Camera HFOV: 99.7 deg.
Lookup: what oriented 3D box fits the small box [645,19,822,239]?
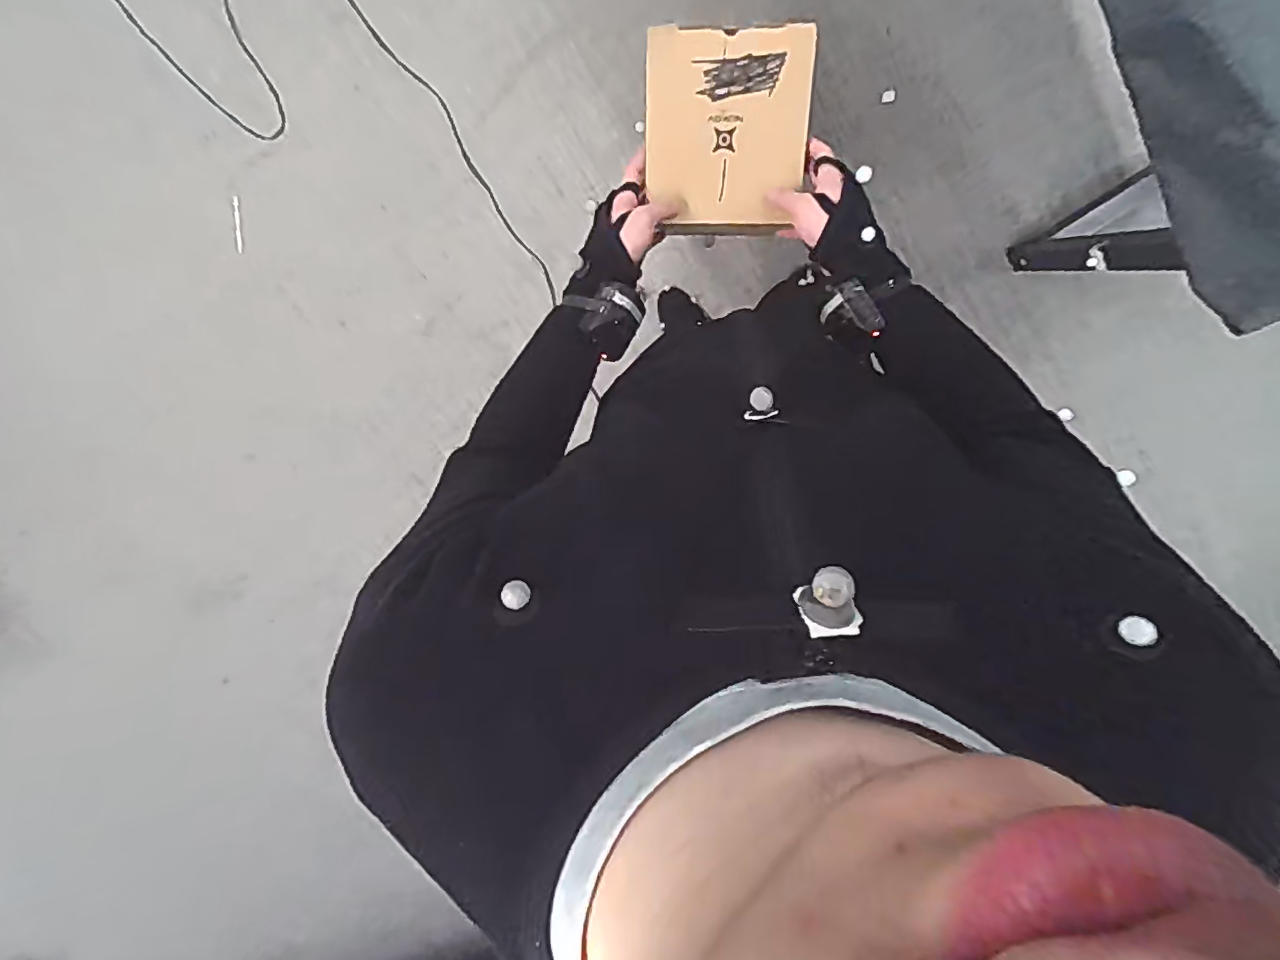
[{"bbox_3d":[0.092,-0.375,0.609,0.168,0.176,0.179,2,110,4],"label":"small box"}]
